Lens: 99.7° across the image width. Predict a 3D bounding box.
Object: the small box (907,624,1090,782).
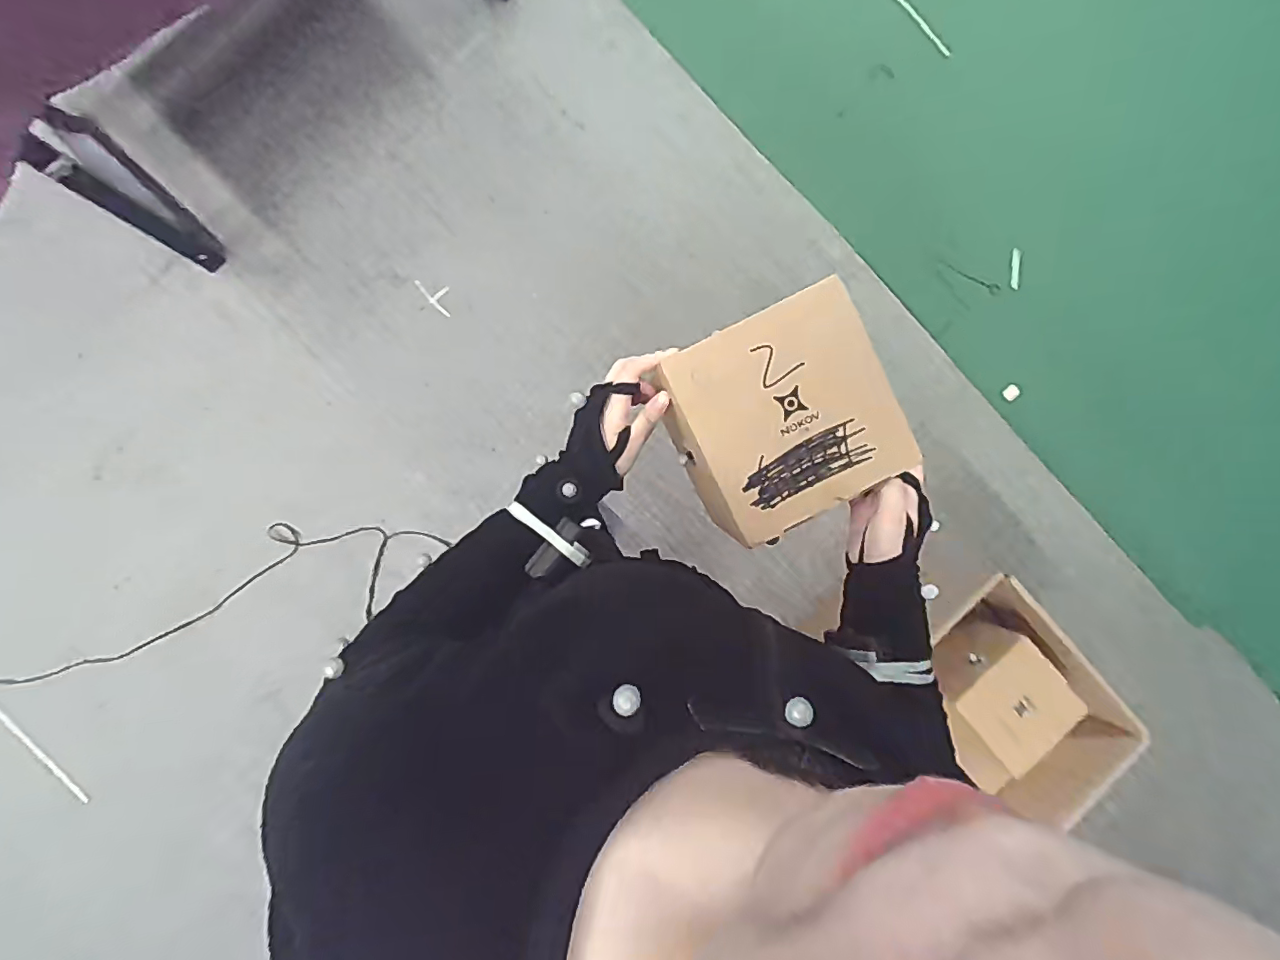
[{"bbox_3d":[0.628,0.385,0.971,0.179,0.176,0.168,-40,89,-6],"label":"small box"}]
